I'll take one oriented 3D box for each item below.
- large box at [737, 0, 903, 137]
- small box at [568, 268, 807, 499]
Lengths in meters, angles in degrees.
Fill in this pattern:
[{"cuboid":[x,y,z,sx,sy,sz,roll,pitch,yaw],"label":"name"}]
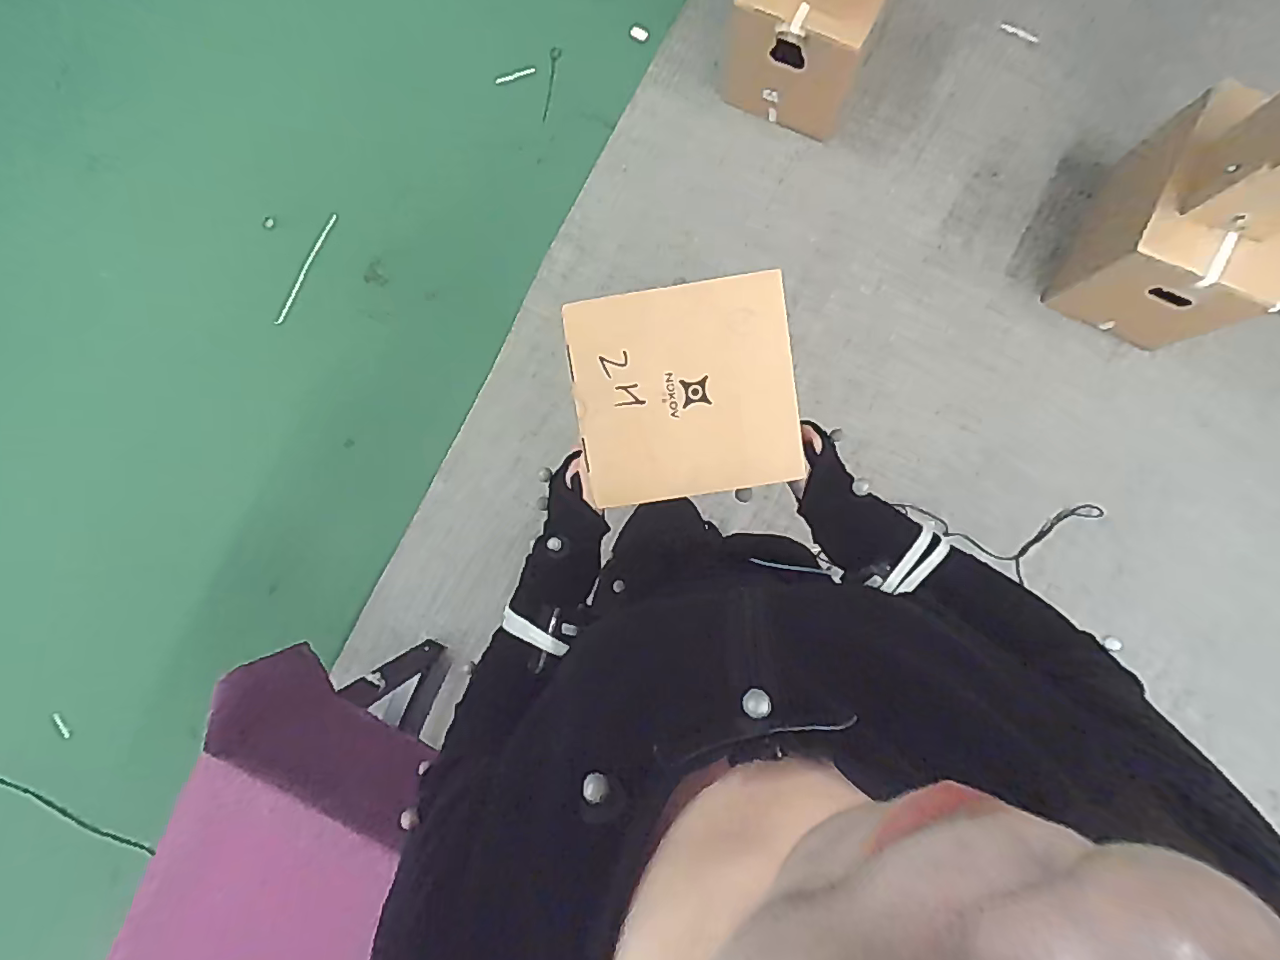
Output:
[{"cuboid":[0.476,-1.193,1.372,0.320,0.320,0.408,27,90,6],"label":"large box"},{"cuboid":[0.041,-0.084,0.509,0.179,0.176,0.168,-8,96,3],"label":"small box"}]
